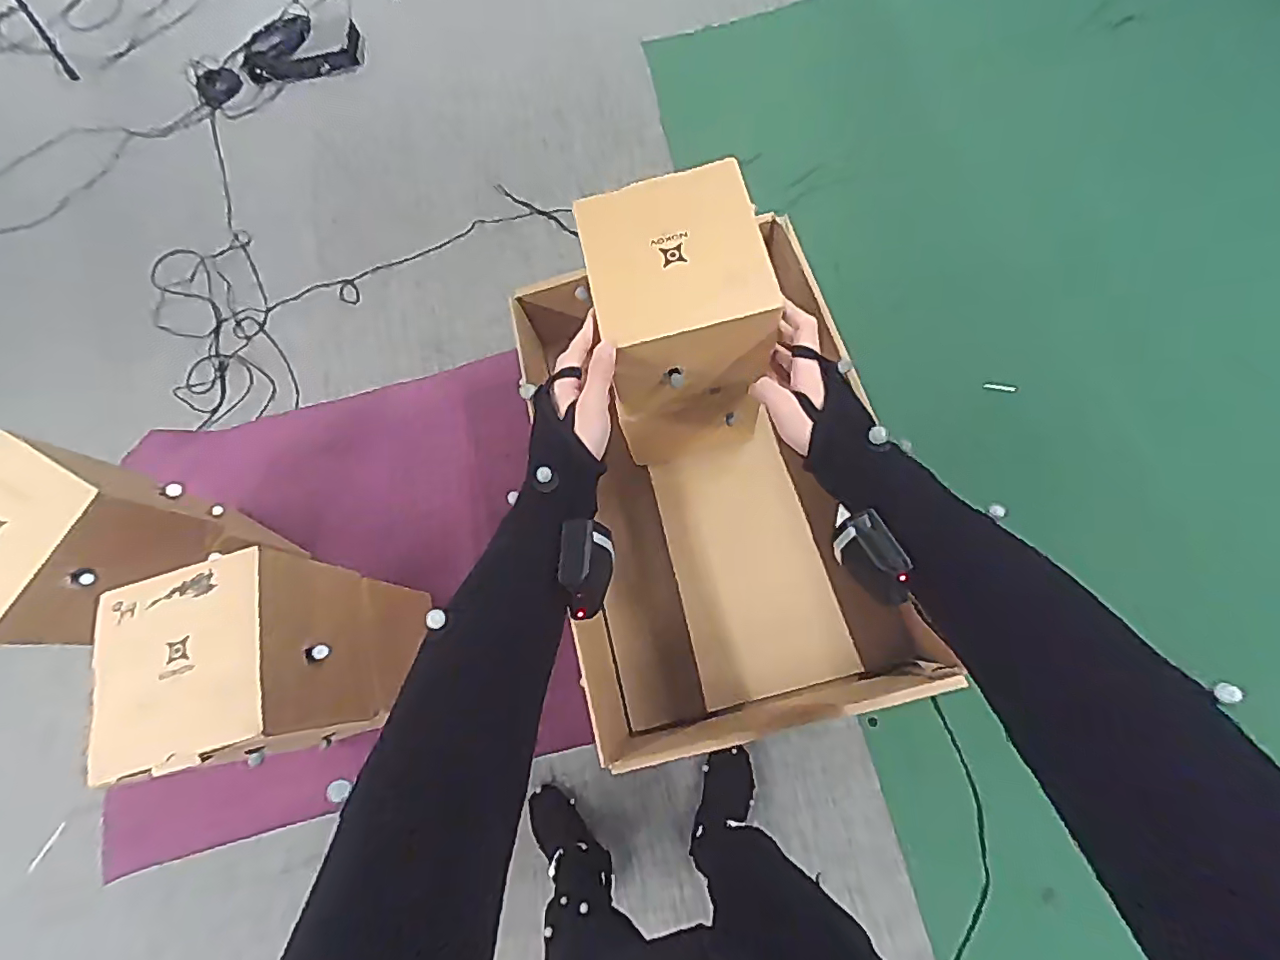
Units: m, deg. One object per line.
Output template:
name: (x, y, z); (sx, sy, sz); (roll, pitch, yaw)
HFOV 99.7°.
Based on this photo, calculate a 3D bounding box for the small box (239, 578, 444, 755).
small box: (-0.387, 0.244, 0.714); (0.179, 0.176, 0.168); (-17, 70, 0)

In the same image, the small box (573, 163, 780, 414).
small box: (0.040, -0.185, 0.577); (0.168, 0.176, 0.179); (-14, 72, 3)

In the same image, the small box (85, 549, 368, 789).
small box: (-0.408, 0.188, 0.562); (0.168, 0.176, 0.179); (-16, 71, 1)

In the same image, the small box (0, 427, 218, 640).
small box: (-0.656, 0.073, 0.628); (0.168, 0.176, 0.179); (26, 77, 12)

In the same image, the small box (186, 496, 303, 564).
small box: (-0.644, 0.127, 0.781); (0.179, 0.176, 0.168); (26, 76, 13)
